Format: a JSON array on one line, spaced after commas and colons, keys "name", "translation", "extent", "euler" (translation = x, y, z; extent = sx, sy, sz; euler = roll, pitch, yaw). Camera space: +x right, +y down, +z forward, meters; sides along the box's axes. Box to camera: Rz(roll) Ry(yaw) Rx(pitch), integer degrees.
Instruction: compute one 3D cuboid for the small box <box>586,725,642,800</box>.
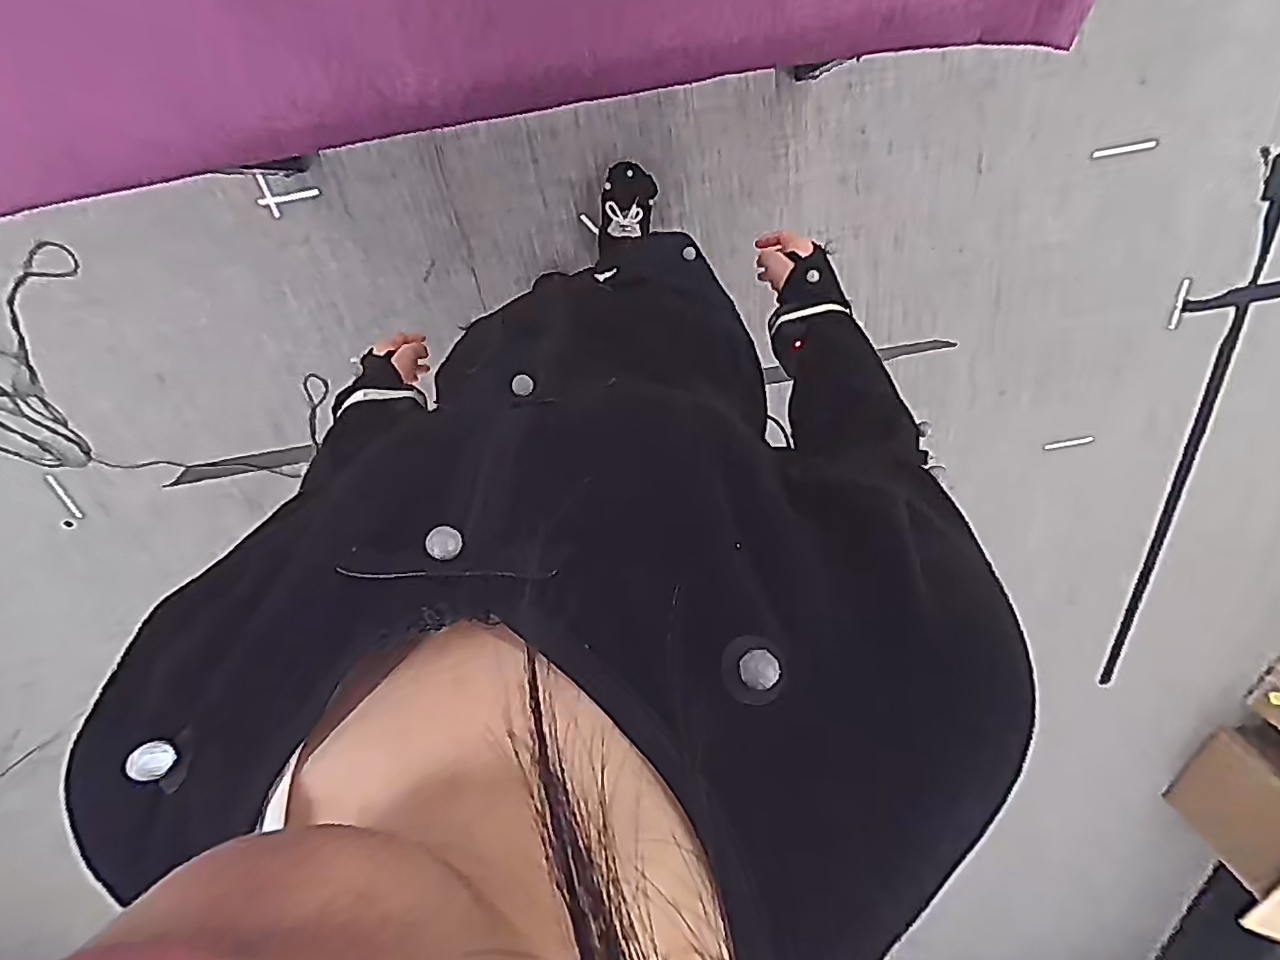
[{"name": "small box", "translation": [-0.102, 1.085, 2.084], "extent": [0.168, 0.176, 0.179], "euler": [-20, 118, 3]}]
